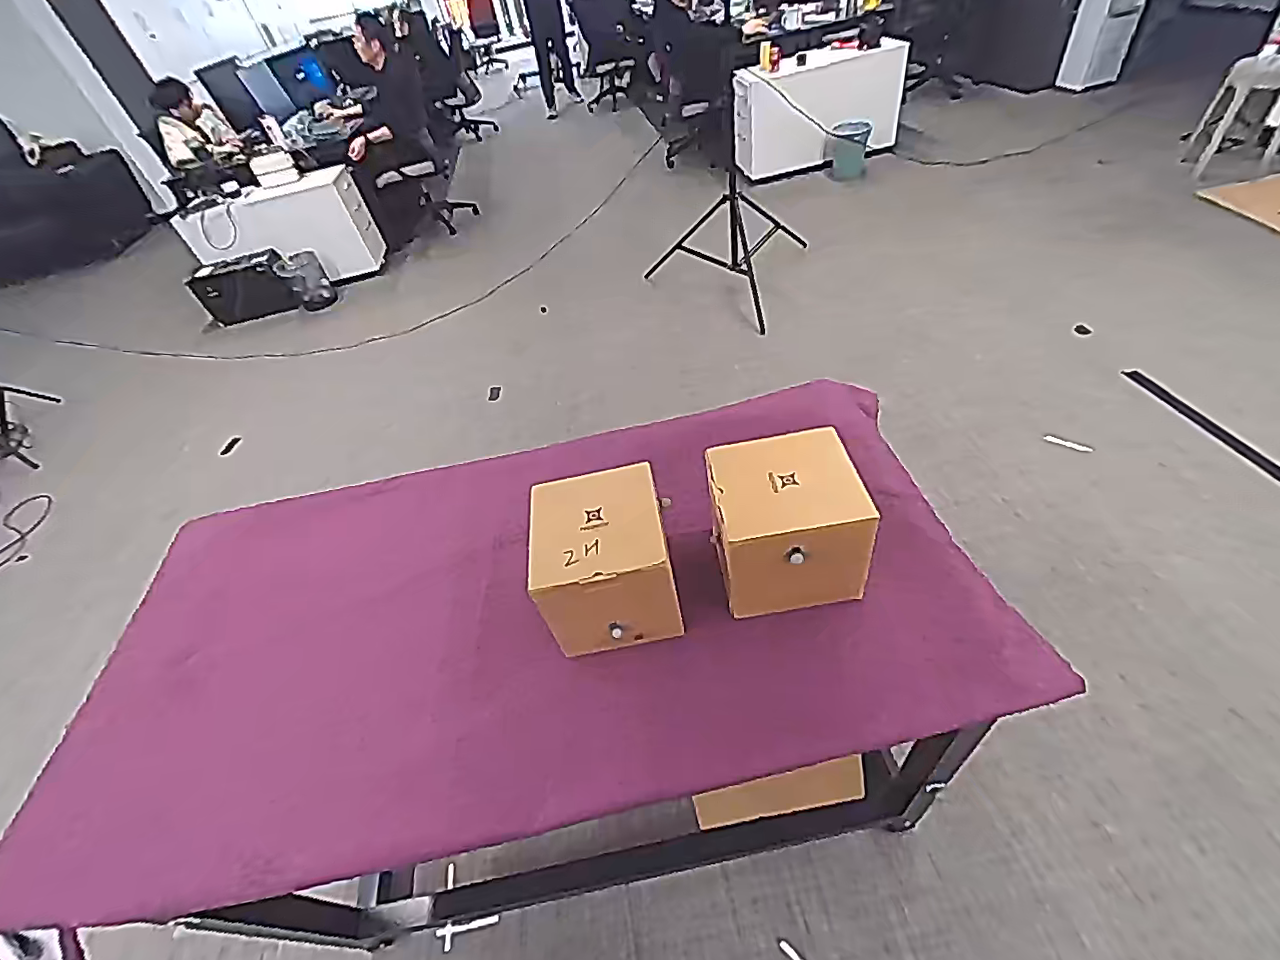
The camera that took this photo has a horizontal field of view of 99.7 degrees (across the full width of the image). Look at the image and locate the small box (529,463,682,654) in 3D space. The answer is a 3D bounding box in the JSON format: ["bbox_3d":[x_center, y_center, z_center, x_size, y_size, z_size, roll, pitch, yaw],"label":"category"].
[{"bbox_3d":[-0.043,0.107,0.732,0.168,0.176,0.179,-12,45,3],"label":"small box"}]

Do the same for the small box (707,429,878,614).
[{"bbox_3d":[0.193,0.059,0.726,0.179,0.176,0.168,-10,44,4],"label":"small box"}]
